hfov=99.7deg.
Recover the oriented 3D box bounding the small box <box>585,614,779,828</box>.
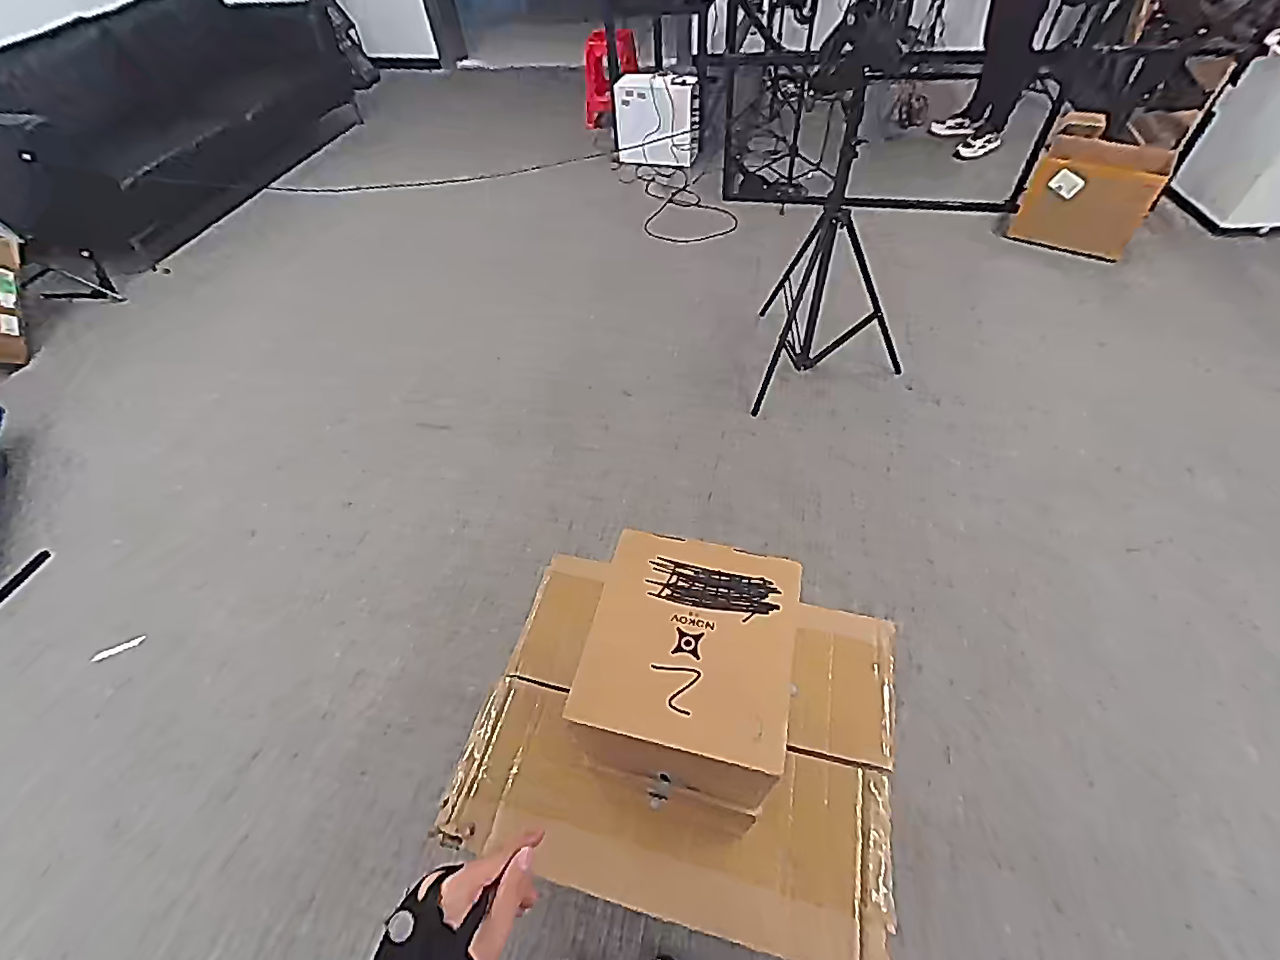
[{"bbox_3d":[0.054,0.281,0.625,0.179,0.176,0.168,10,53,12],"label":"small box"}]
